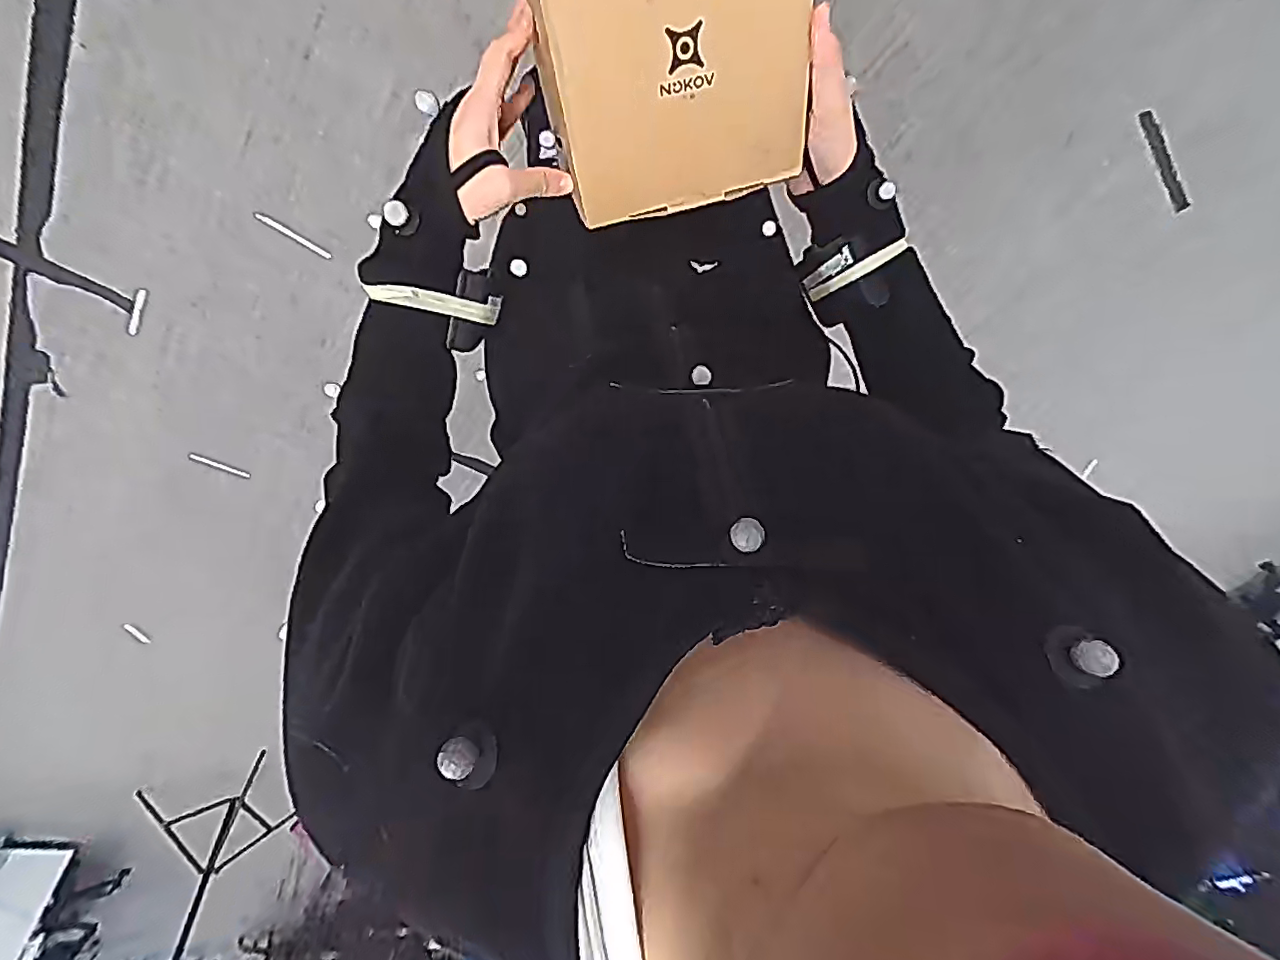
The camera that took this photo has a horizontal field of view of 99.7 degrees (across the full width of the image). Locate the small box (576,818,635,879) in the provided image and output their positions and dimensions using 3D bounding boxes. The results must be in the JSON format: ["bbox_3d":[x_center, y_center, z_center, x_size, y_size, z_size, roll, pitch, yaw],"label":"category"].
[{"bbox_3d":[-0.143,1.454,2.137,0.179,0.176,0.168,25,127,-30],"label":"small box"}]
